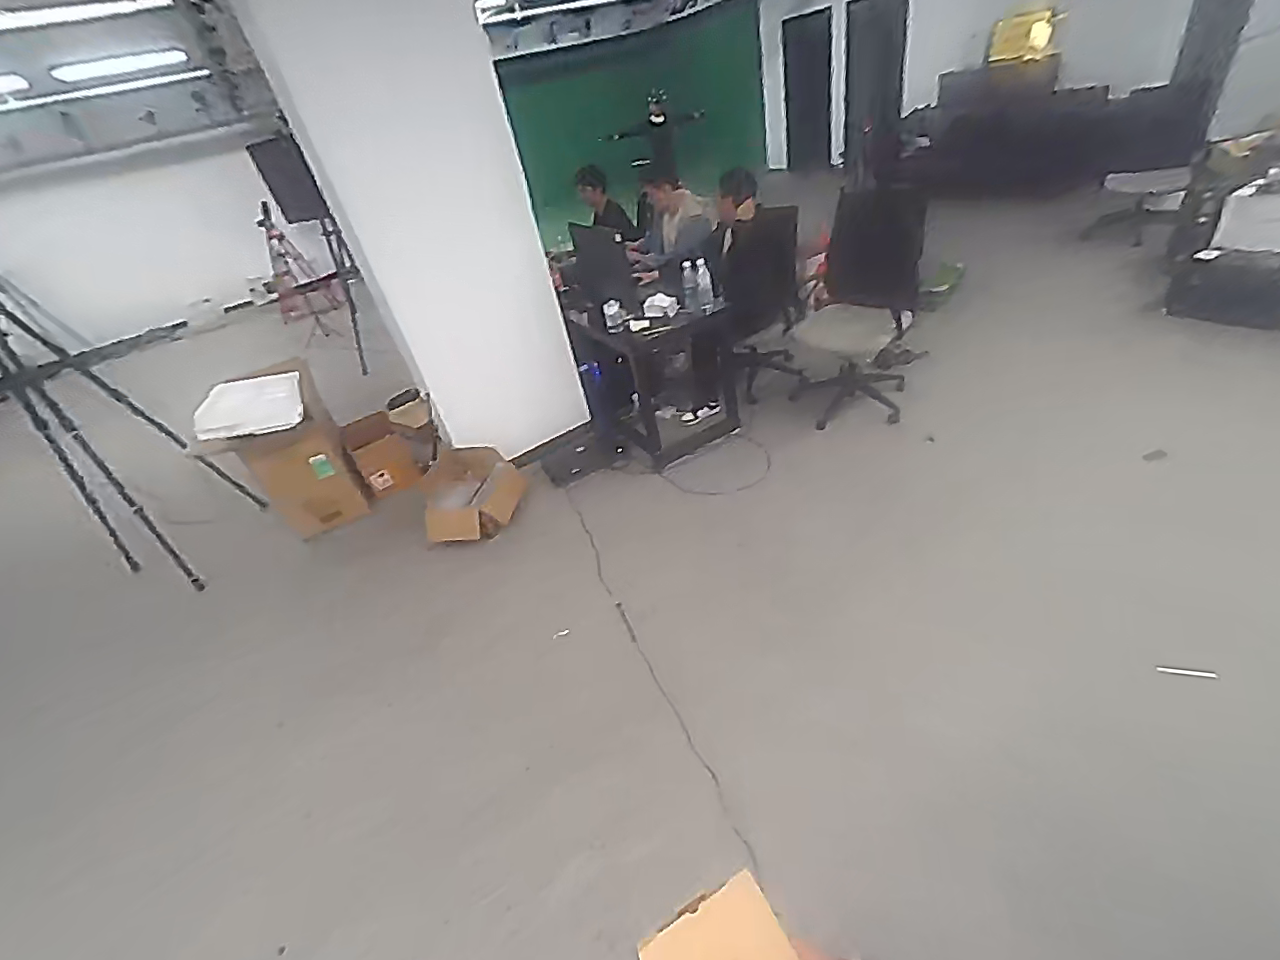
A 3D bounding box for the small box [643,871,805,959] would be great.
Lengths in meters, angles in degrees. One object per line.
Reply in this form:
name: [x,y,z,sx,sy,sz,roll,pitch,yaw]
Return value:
small box: [0.124,0.628,0.654,0.168,0.176,0.179,-26,43,-12]
